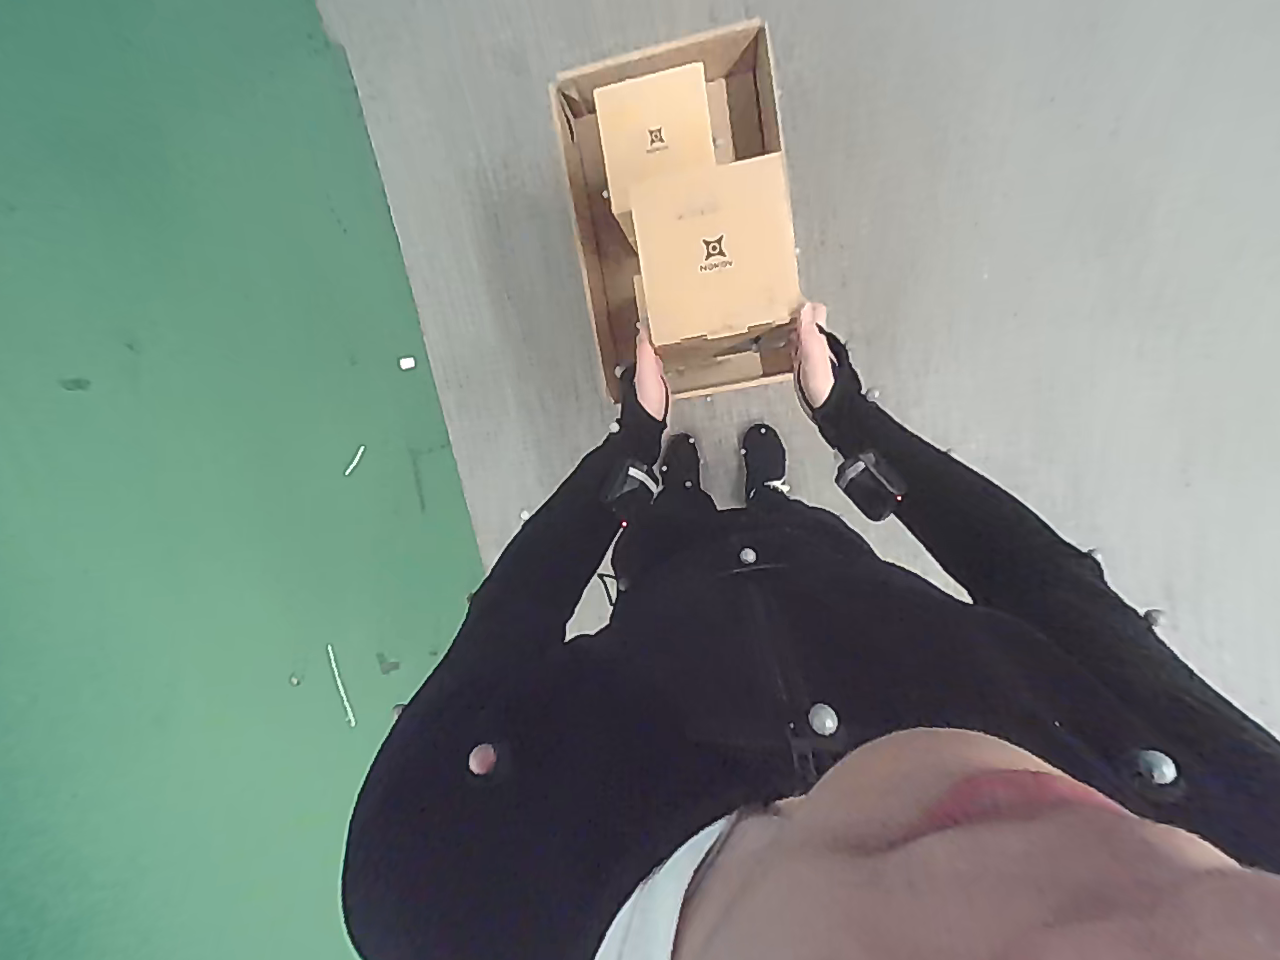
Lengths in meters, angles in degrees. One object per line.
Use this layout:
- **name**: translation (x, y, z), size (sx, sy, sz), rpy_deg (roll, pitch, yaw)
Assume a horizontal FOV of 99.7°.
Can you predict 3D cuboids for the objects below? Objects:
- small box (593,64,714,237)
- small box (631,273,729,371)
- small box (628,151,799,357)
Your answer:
- **small box**: translation (0.030, -0.520, 0.879), size (0.168, 0.176, 0.179), rpy_deg (-8, 100, 8)
- **small box**: translation (0.085, -0.314, 1.069), size (0.168, 0.176, 0.179), rpy_deg (-8, 97, 8)
- **small box**: translation (0.088, -0.251, 0.650), size (0.168, 0.176, 0.179), rpy_deg (-8, 93, 7)
